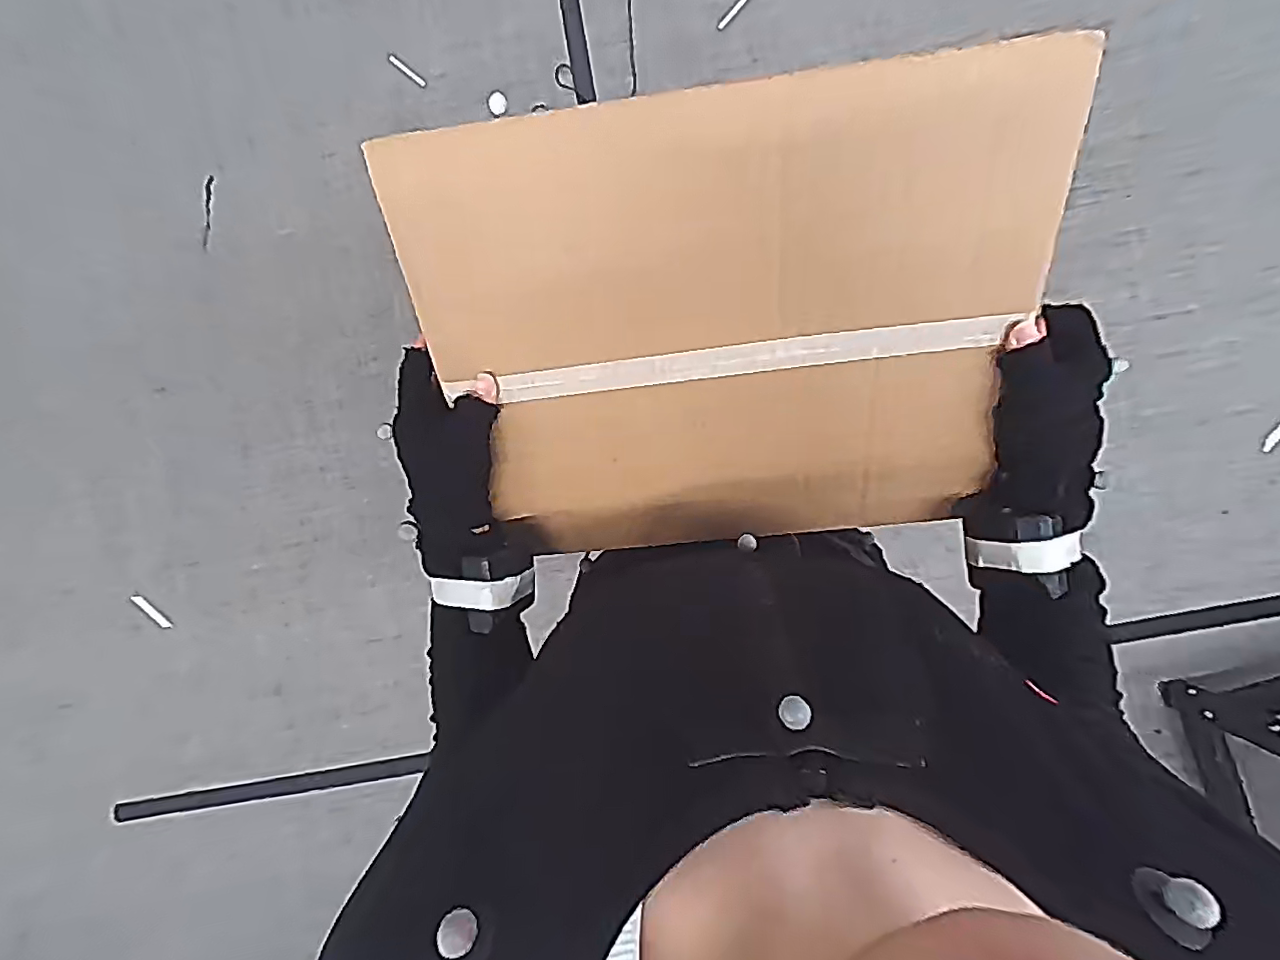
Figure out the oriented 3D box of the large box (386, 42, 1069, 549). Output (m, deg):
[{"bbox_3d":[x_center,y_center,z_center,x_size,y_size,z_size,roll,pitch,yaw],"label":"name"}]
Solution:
[{"bbox_3d":[0.060,-0.165,0.513,0.408,0.320,0.320,-6,123,4],"label":"large box"}]
